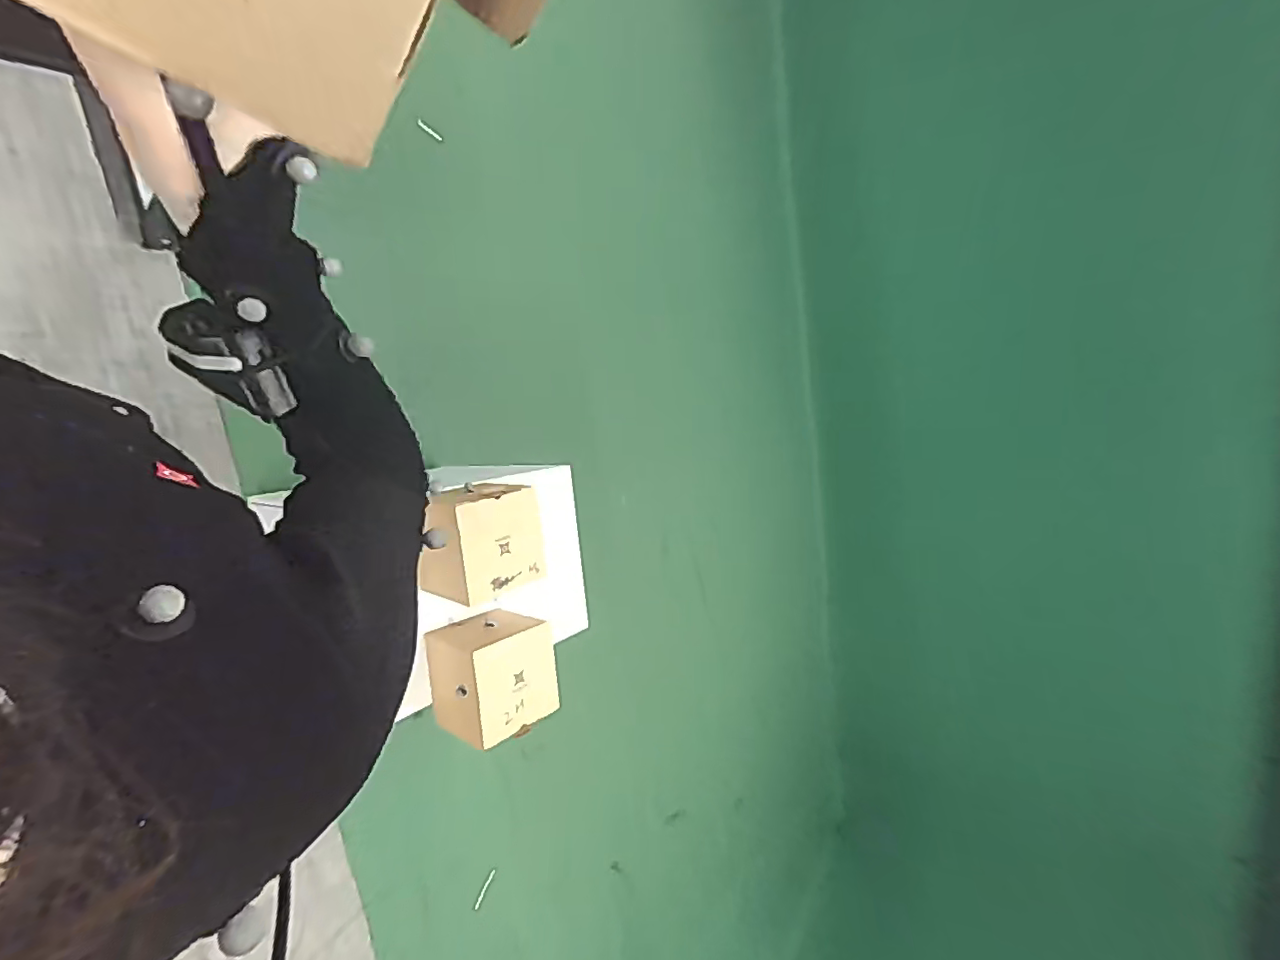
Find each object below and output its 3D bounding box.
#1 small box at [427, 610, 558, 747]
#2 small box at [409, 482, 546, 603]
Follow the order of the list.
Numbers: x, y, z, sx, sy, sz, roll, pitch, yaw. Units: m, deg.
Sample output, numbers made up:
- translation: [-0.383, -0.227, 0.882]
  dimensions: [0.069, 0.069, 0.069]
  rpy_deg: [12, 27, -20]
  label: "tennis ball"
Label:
- translation: [-0.274, 0.350, 0.999]
  dimensions: [0.168, 0.176, 0.179]
  rpy_deg: [-11, 99, -48]
  label: "small box"
- translation: [-0.294, 0.102, 0.973]
  dimensions: [0.168, 0.176, 0.179]
  rpy_deg: [-15, 103, -47]
  label: "small box"
